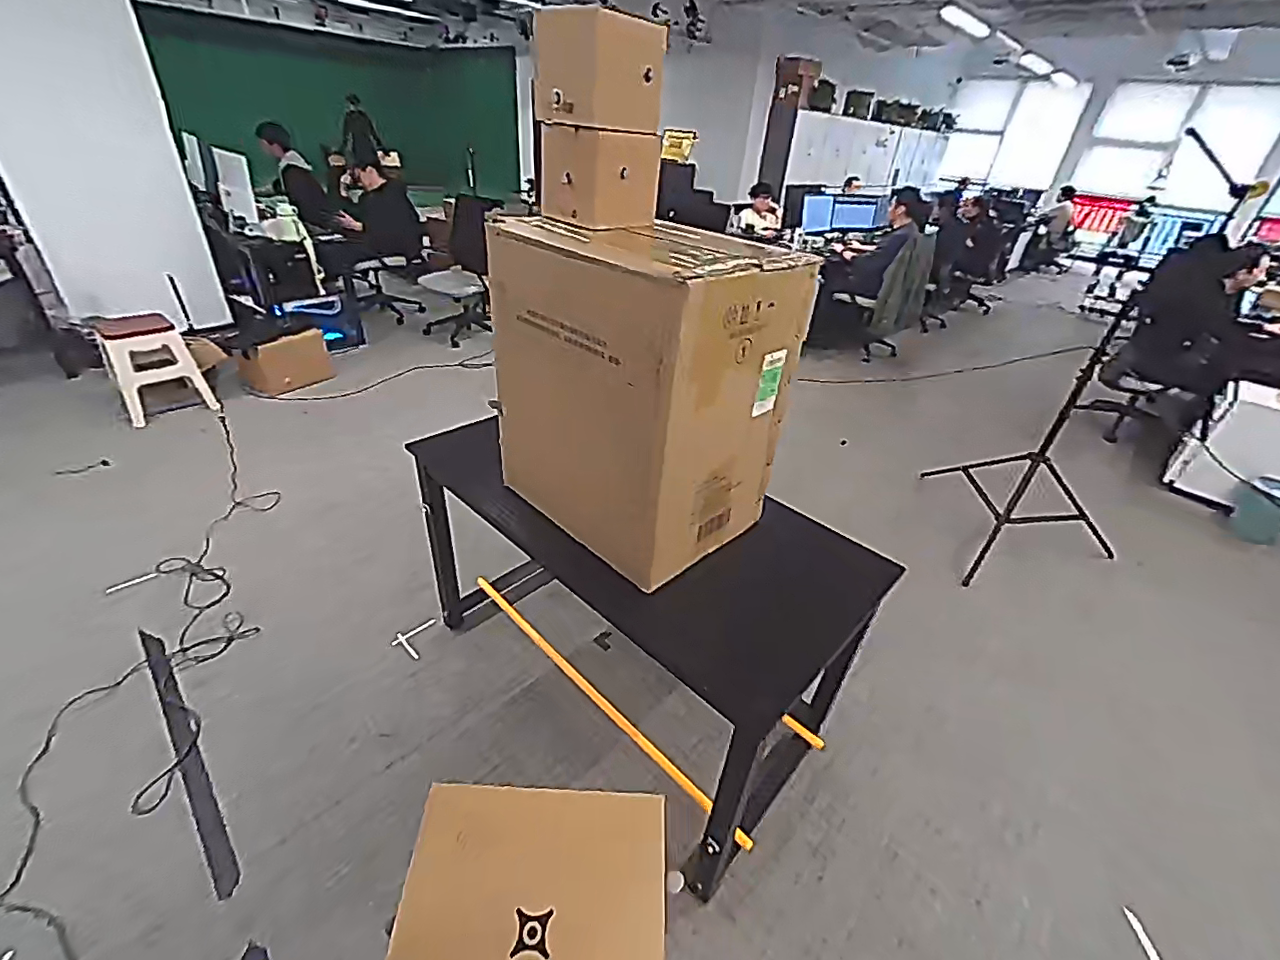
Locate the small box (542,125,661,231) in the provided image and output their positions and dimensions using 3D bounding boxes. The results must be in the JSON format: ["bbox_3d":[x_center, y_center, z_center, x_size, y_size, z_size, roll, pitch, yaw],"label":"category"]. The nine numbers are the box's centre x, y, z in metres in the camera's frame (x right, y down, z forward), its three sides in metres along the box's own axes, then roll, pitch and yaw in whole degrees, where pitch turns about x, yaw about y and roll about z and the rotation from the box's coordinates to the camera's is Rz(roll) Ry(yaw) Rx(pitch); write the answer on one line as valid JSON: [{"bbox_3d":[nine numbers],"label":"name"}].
[{"bbox_3d":[-0.077,-0.608,1.091,0.168,0.176,0.179,31,41,32],"label":"small box"}]

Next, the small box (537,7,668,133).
[{"bbox_3d":[-0.073,-0.741,0.994,0.168,0.176,0.179,29,40,32],"label":"small box"}]
